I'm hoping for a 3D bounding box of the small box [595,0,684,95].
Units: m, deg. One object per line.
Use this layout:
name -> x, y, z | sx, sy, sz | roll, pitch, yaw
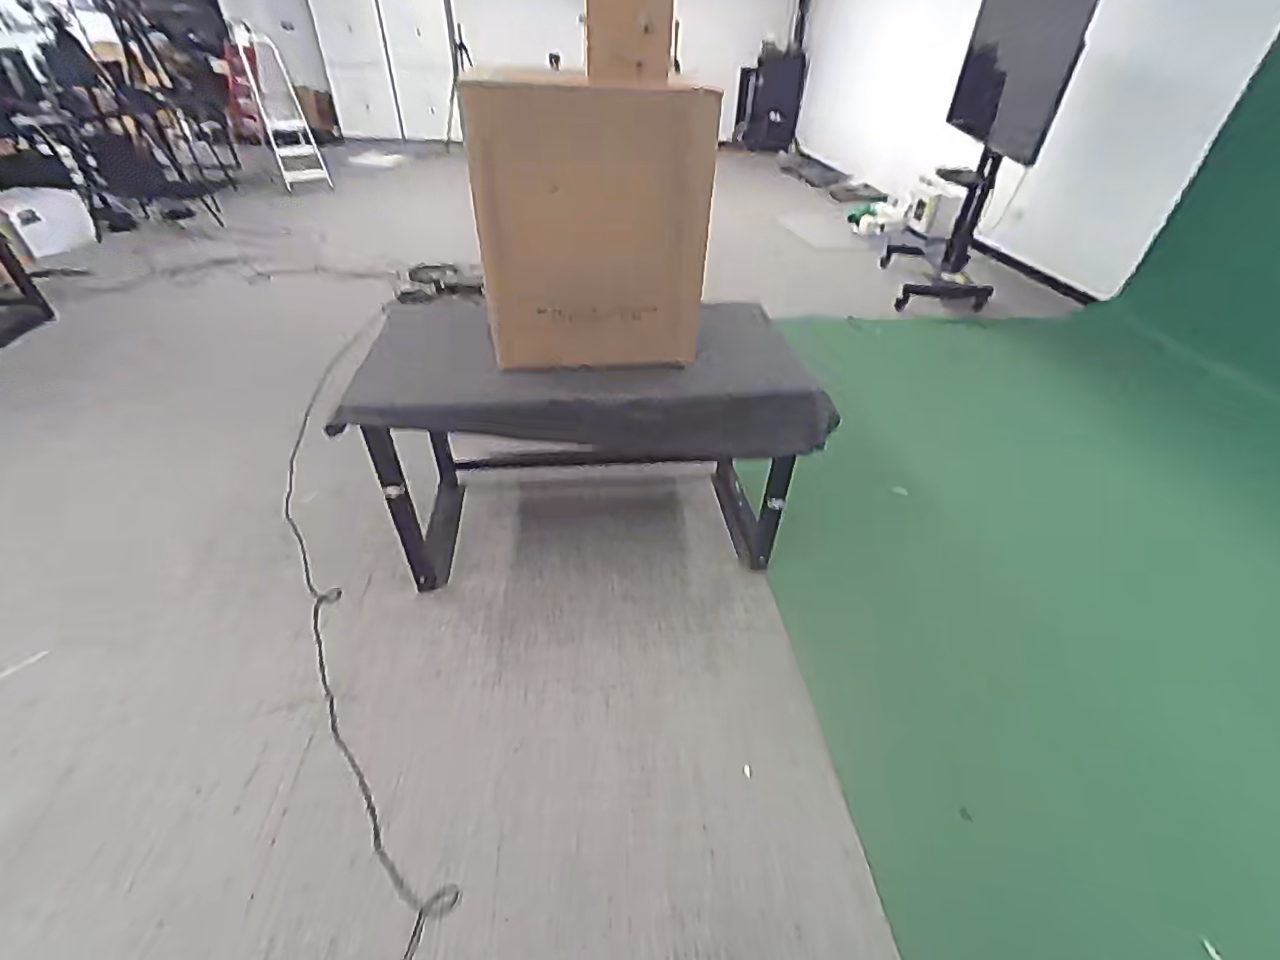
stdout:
small box -> -0.007, -0.900, 1.108 | 0.168, 0.176, 0.179 | -1, 40, -7
